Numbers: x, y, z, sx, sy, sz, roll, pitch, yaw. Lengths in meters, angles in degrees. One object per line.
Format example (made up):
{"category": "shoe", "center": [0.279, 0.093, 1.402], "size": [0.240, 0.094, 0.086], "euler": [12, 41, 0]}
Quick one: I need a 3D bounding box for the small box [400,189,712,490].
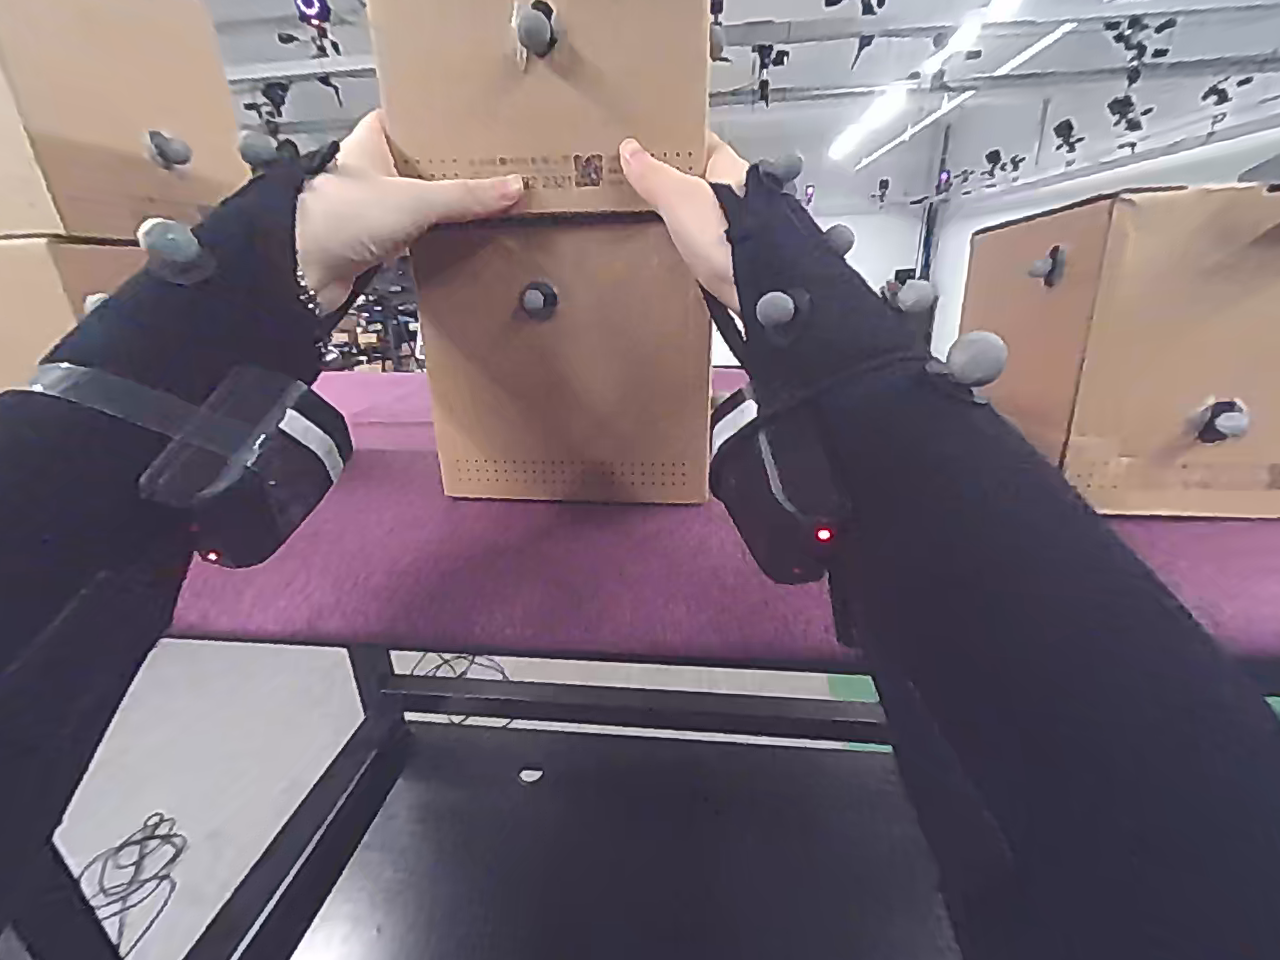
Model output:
{"category": "small box", "center": [-0.037, -0.096, 0.390], "size": [0.179, 0.176, 0.168], "euler": [1, 19, 7]}

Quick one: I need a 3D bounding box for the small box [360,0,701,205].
{"category": "small box", "center": [-0.049, -0.250, 0.331], "size": [0.168, 0.176, 0.179], "euler": [0, 20, 2]}

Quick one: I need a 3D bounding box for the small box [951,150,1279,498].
{"category": "small box", "center": [0.319, -0.093, 0.341], "size": [0.168, 0.176, 0.179], "euler": [0, 19, 10]}

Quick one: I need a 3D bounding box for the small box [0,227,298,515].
{"category": "small box", "center": [-0.388, -0.084, 0.397], "size": [0.168, 0.176, 0.179], "euler": [-2, 22, 4]}

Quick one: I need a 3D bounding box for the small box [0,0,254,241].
{"category": "small box", "center": [-0.400, -0.239, 0.341], "size": [0.179, 0.176, 0.168], "euler": [-2, 21, 3]}
